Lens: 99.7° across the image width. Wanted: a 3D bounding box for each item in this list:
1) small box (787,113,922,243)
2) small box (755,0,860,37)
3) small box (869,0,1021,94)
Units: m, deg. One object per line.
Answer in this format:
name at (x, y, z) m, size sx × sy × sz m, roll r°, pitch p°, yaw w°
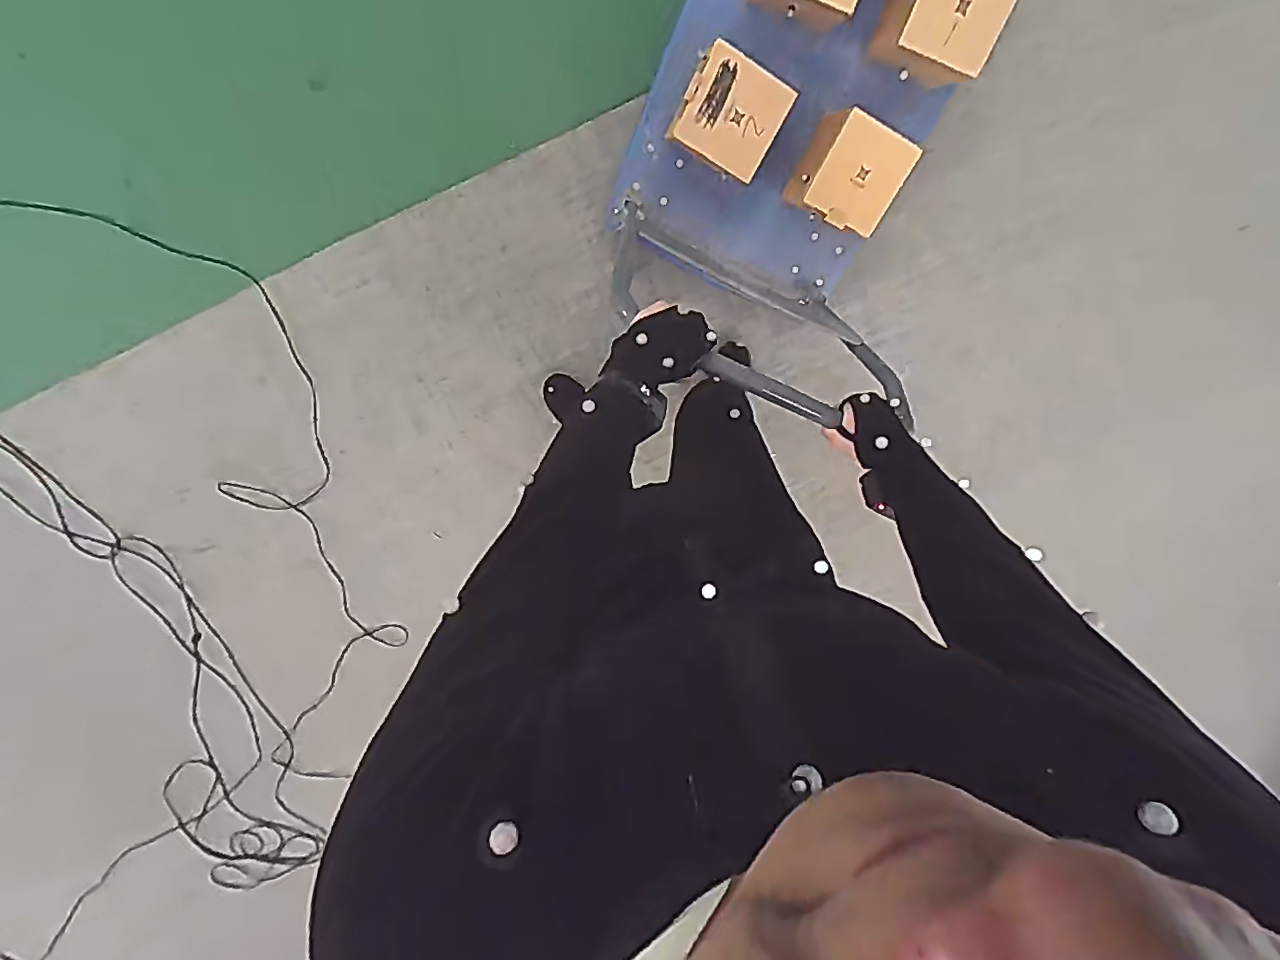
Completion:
small box at (0.431, -0.624, 1.123) m, size 0.168 × 0.176 × 0.179 m, roll 22°, pitch 118°, yaw -14°
small box at (0.312, -0.921, 0.947) m, size 0.168 × 0.176 × 0.179 m, roll 14°, pitch 118°, yaw -11°
small box at (0.557, -0.848, 0.997) m, size 0.168 × 0.176 × 0.179 m, roll 16°, pitch 119°, yaw -10°
